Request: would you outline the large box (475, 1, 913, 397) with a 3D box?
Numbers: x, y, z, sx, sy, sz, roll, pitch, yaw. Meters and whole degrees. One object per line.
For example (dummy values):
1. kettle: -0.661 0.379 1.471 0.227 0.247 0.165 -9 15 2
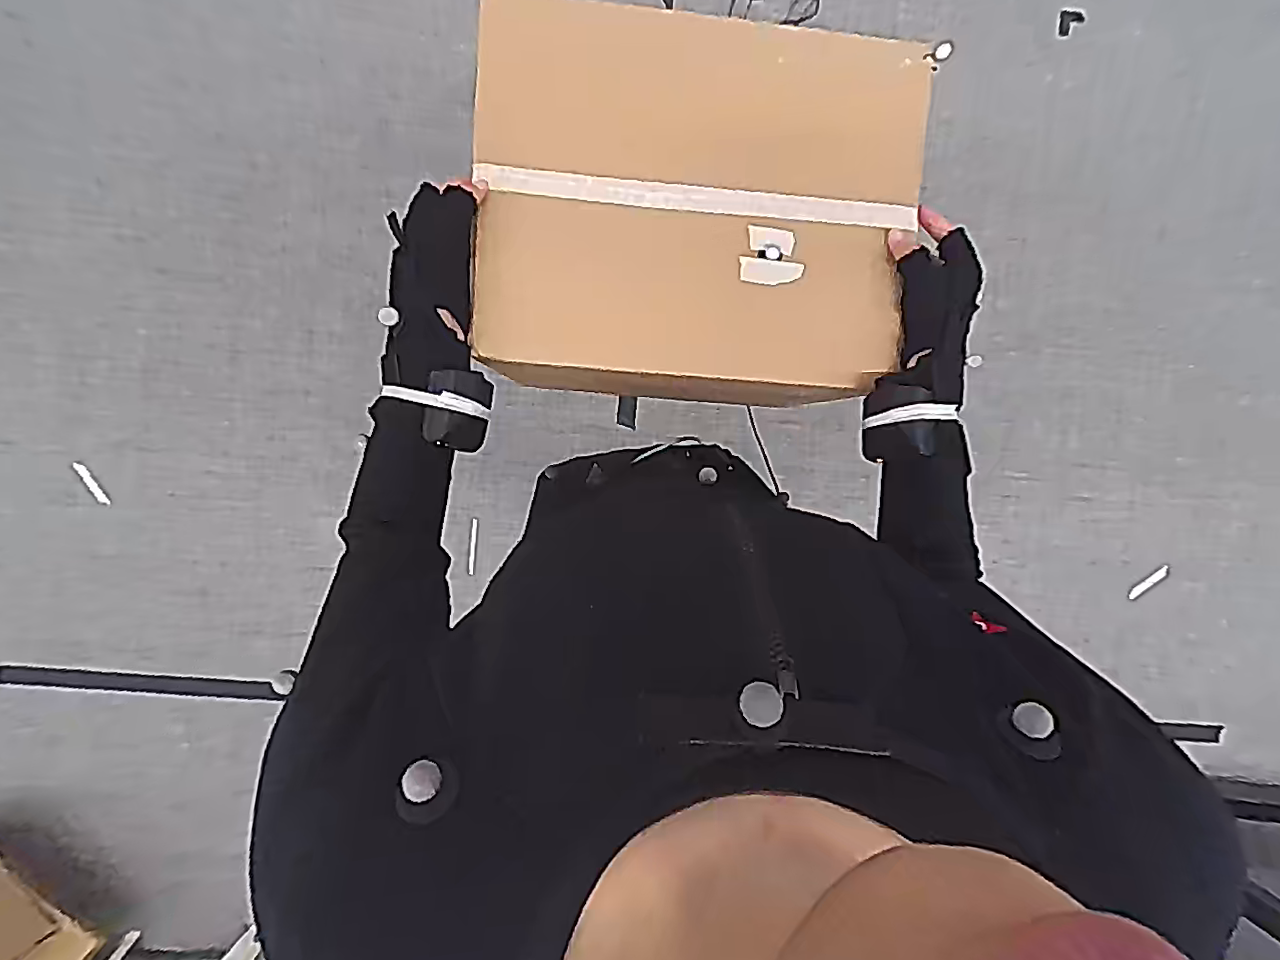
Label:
1. large box: 0.038 -0.274 0.651 0.408 0.320 0.320 4 96 -5
